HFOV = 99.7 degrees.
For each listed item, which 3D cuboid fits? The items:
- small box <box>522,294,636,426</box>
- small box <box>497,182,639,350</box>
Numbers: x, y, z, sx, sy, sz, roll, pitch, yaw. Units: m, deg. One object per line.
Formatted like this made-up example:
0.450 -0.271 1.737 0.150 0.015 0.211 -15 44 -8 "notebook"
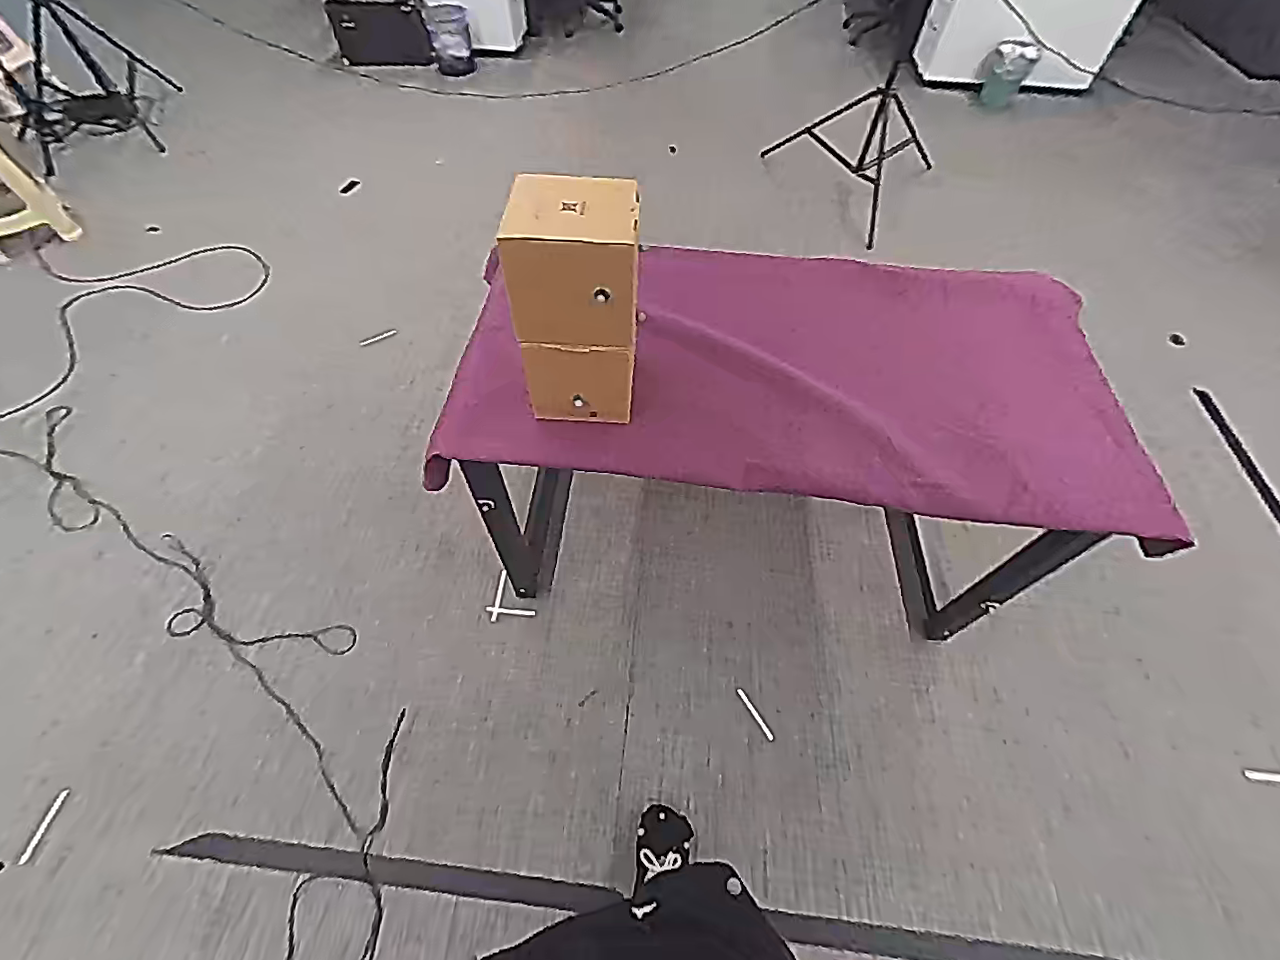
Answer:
-0.096 -0.215 0.923 0.168 0.176 0.179 3 56 1 "small box"
-0.093 -0.307 0.790 0.179 0.176 0.168 2 54 0 "small box"
